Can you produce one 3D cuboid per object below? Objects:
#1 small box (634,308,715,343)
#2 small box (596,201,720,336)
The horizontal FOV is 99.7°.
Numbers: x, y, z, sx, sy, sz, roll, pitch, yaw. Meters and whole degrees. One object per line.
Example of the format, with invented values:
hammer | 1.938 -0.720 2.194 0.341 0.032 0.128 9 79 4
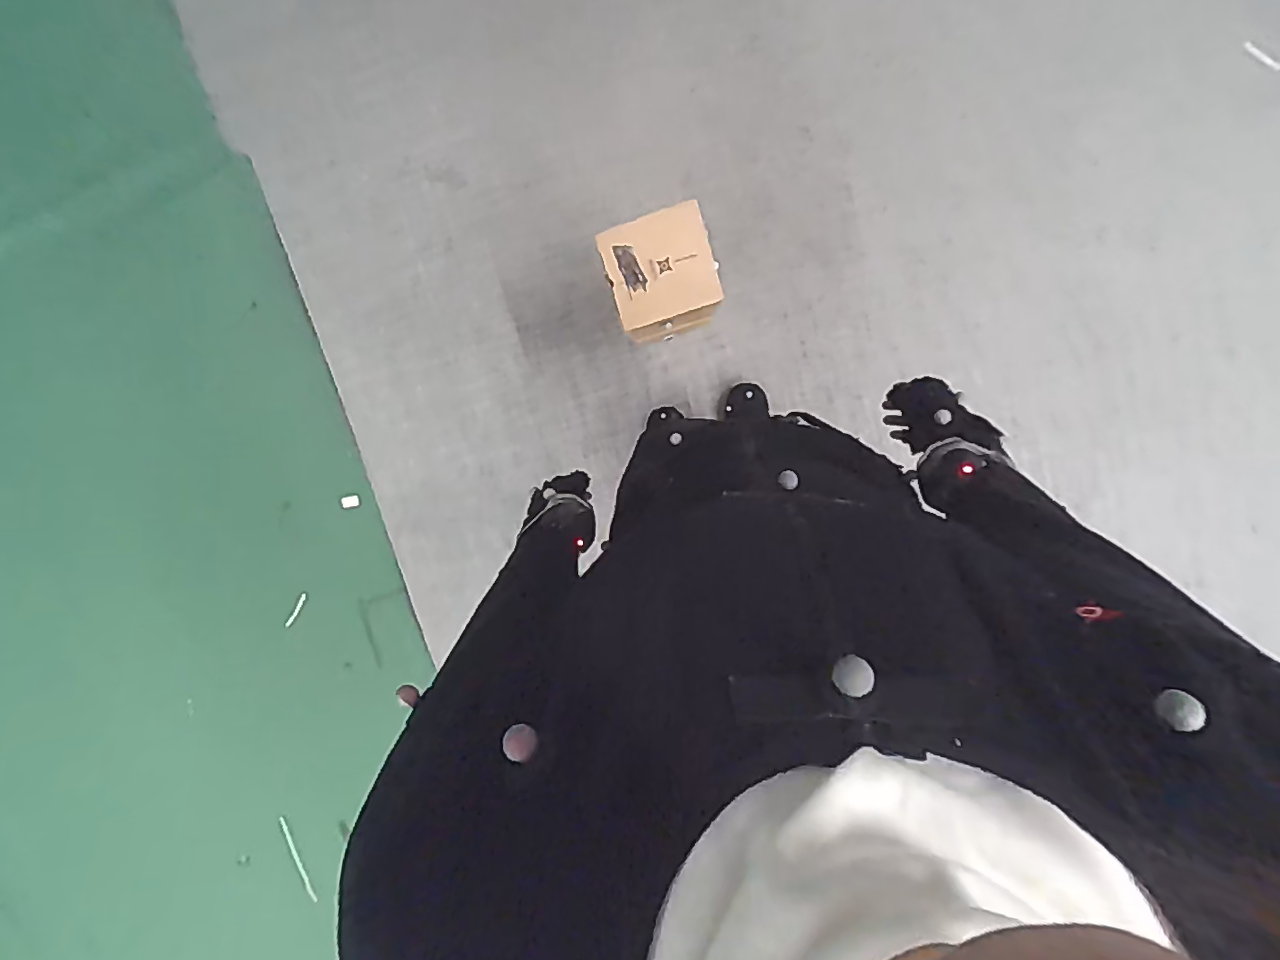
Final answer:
small box | 0.049 -0.395 1.121 0.168 0.176 0.179 -17 100 8
small box | 0.037 -0.368 0.976 0.179 0.176 0.168 -16 99 7
